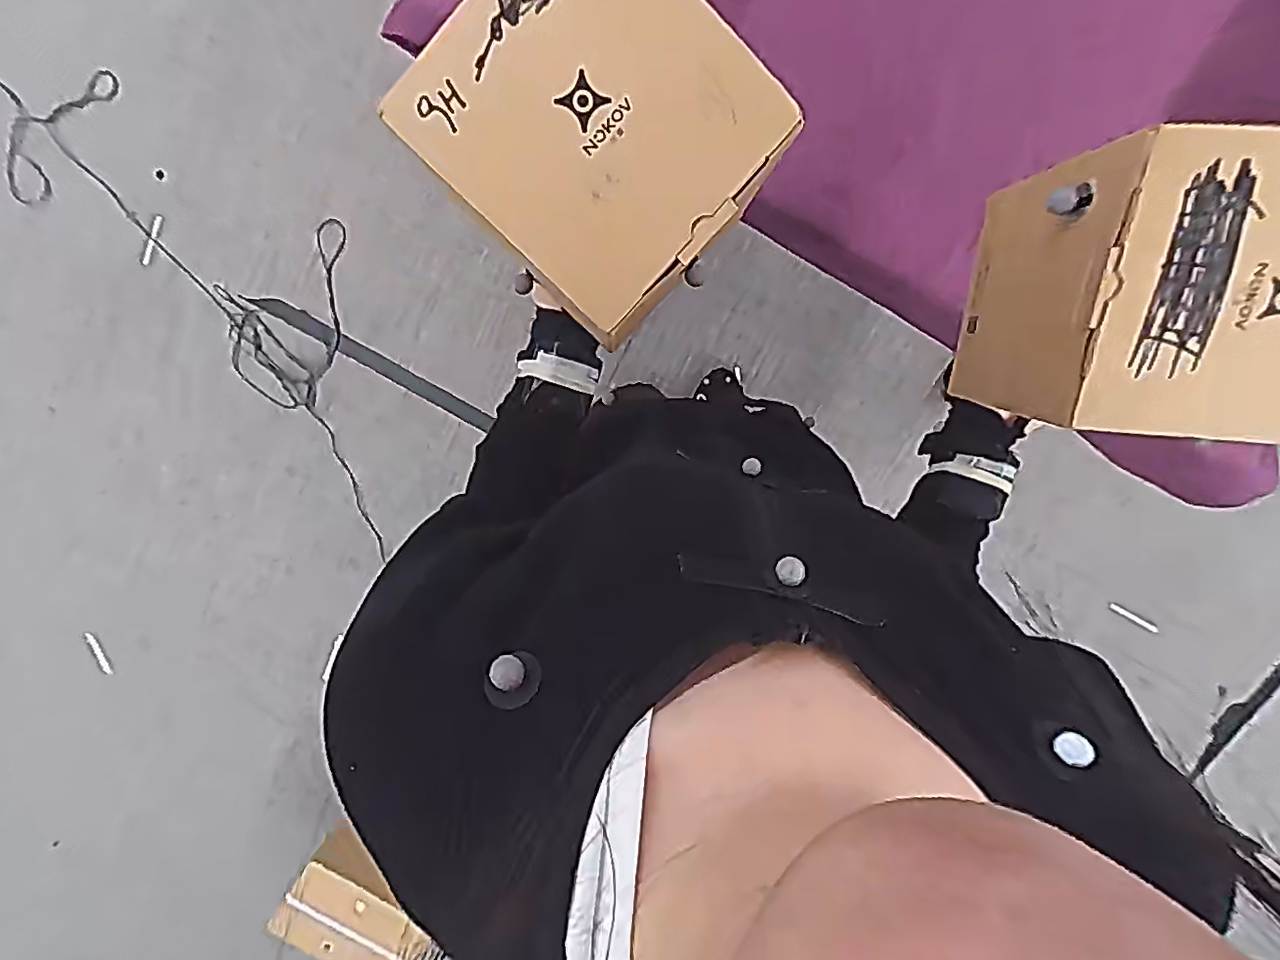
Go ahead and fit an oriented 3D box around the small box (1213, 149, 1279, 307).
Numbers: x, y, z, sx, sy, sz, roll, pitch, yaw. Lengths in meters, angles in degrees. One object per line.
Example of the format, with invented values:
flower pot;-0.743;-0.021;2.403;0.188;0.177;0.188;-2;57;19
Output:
small box;0.785;-0.293;0.570;0.168;0.176;0.179;34;101;-3

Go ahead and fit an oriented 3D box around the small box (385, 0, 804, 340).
small box;-0.026;-0.215;0.377;0.179;0.176;0.168;42;95;-9
